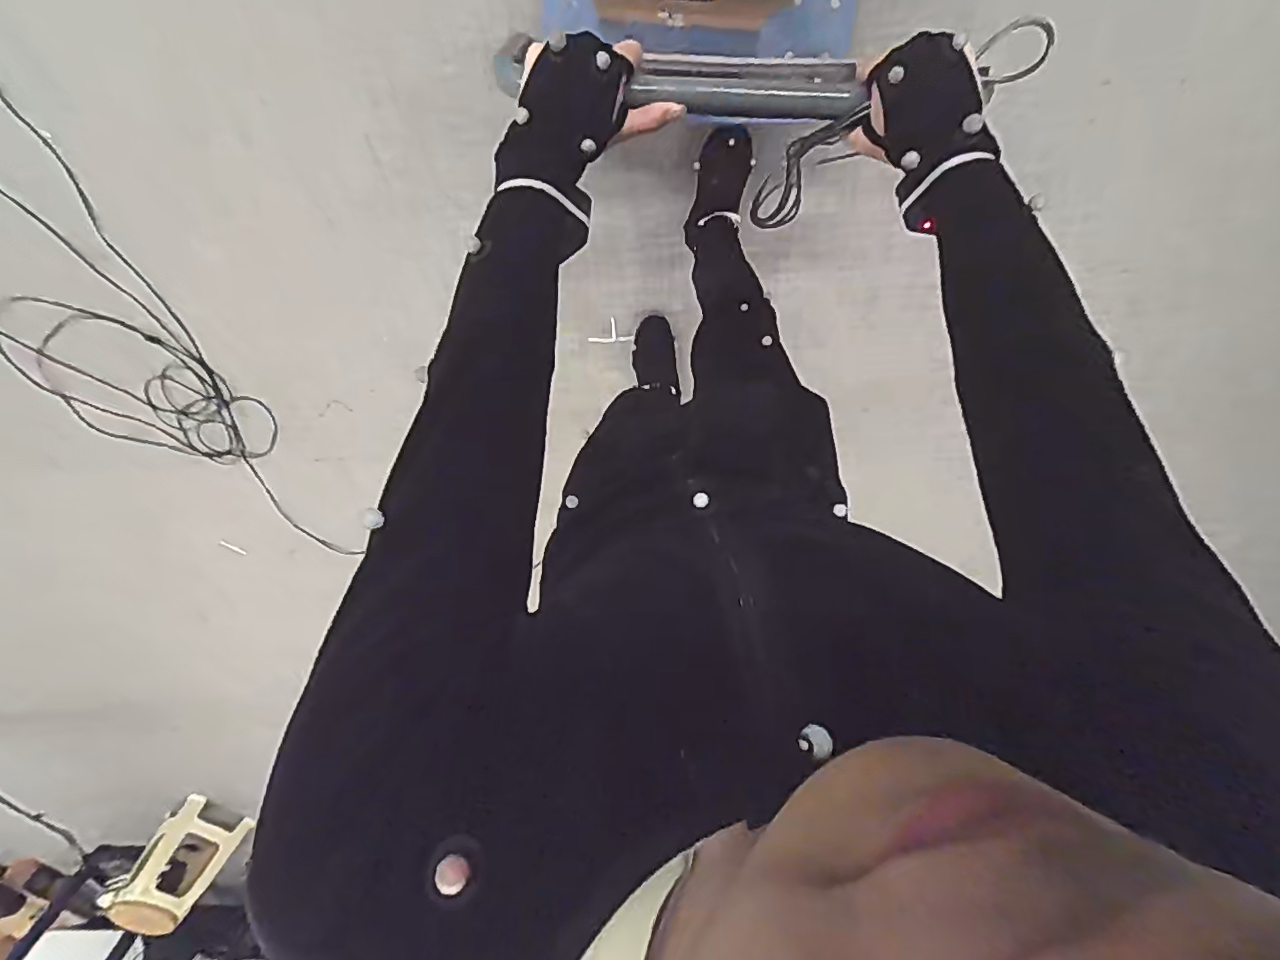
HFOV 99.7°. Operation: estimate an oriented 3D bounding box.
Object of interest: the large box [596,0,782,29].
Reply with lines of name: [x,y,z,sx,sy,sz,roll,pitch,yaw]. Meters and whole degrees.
large box: [0.083,-0.940,0.777,0.320,0.320,0.408,4,120,-1]
